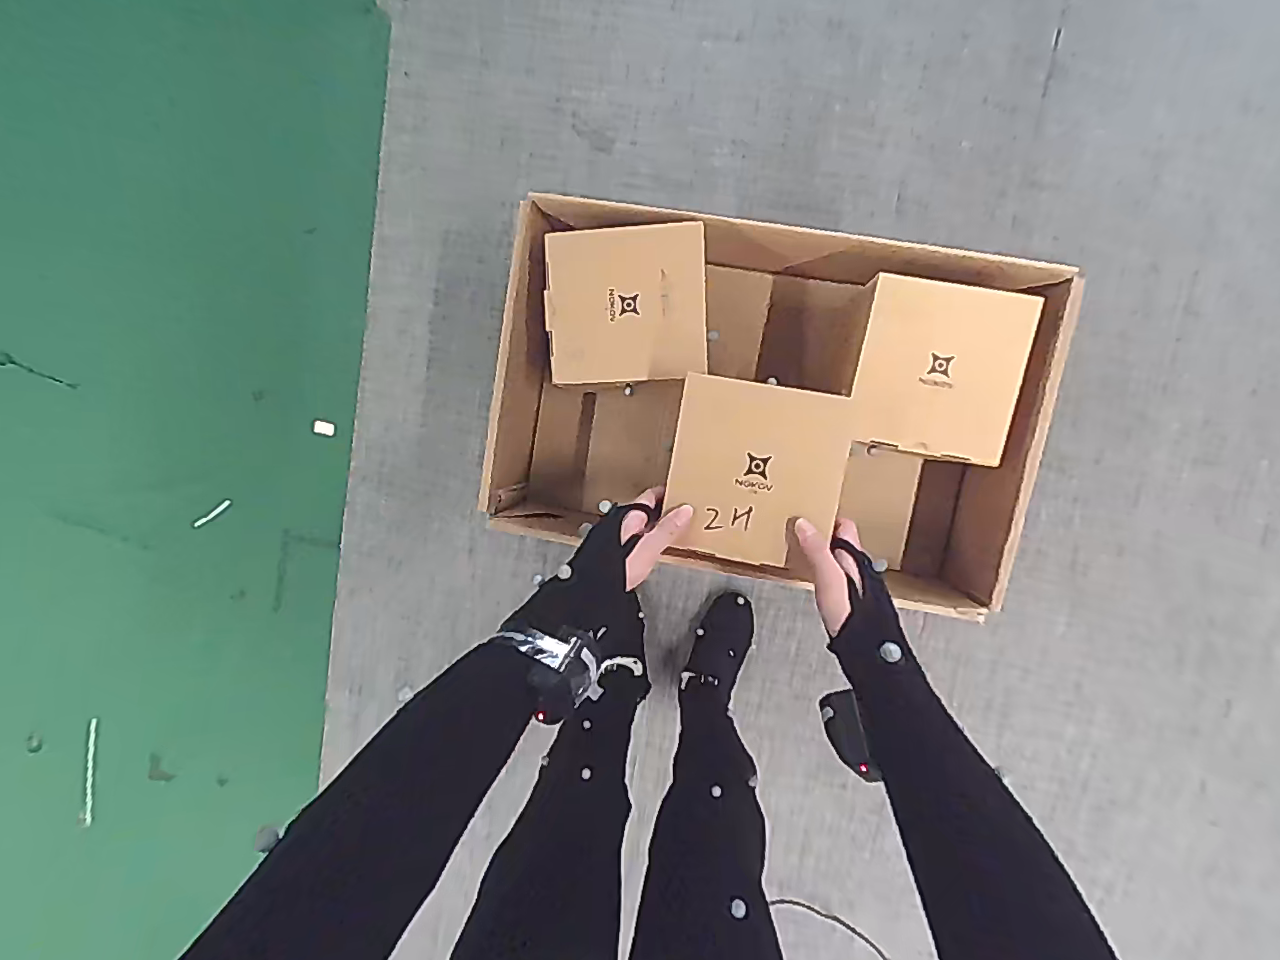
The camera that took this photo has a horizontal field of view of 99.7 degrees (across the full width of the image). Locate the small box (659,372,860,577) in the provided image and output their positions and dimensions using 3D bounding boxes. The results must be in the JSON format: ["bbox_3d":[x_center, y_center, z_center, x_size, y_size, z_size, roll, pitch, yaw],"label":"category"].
[{"bbox_3d":[0.123,-0.011,0.602,0.168,0.176,0.179,11,96,8],"label":"small box"}]
